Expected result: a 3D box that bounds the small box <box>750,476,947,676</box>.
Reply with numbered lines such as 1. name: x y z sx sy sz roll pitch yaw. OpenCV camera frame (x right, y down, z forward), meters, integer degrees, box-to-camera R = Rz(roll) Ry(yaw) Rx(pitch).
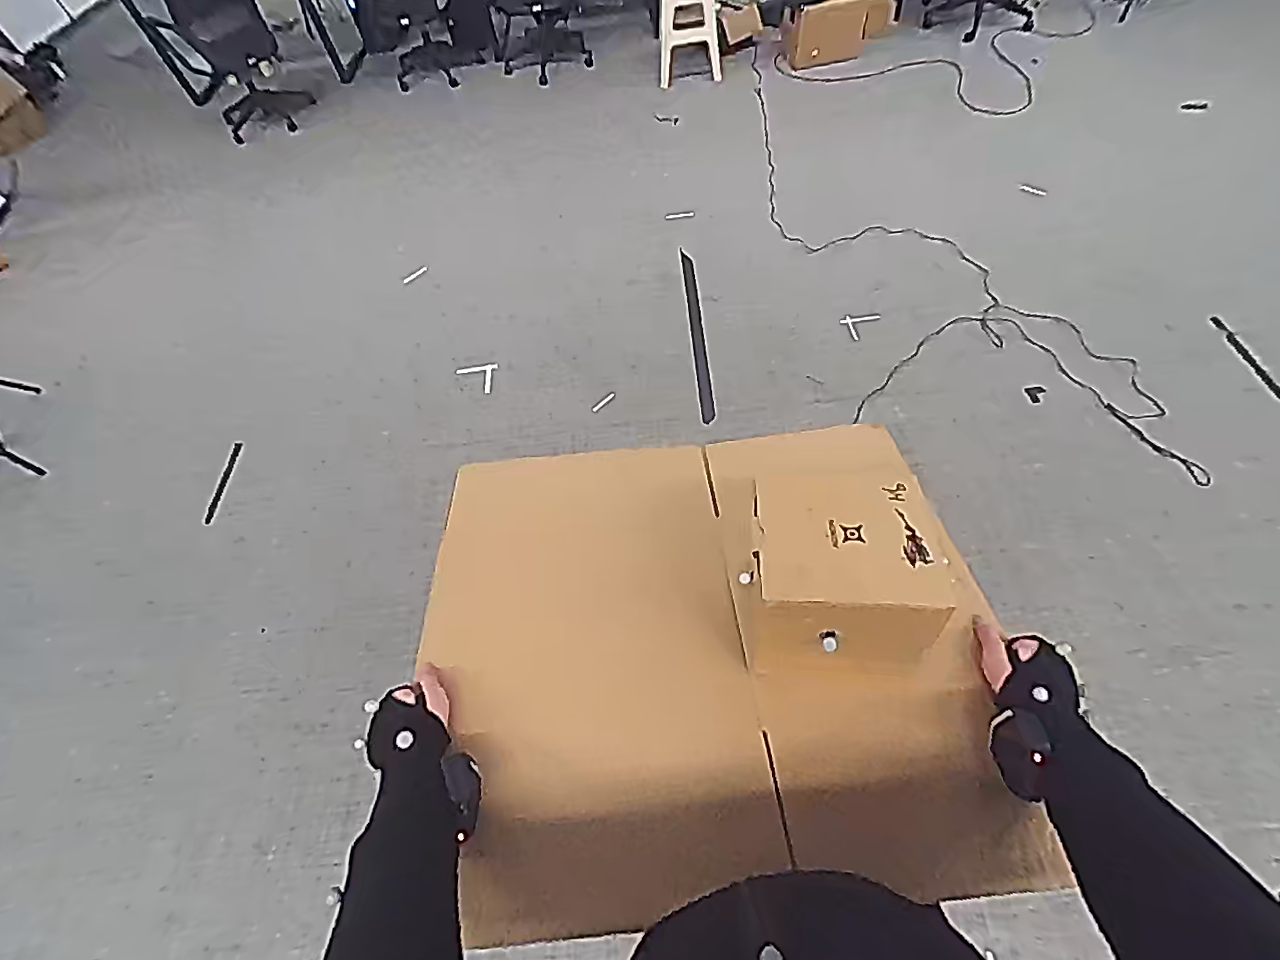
1. small box: 0.218 0.112 0.620 0.179 0.176 0.168 -1 48 10
